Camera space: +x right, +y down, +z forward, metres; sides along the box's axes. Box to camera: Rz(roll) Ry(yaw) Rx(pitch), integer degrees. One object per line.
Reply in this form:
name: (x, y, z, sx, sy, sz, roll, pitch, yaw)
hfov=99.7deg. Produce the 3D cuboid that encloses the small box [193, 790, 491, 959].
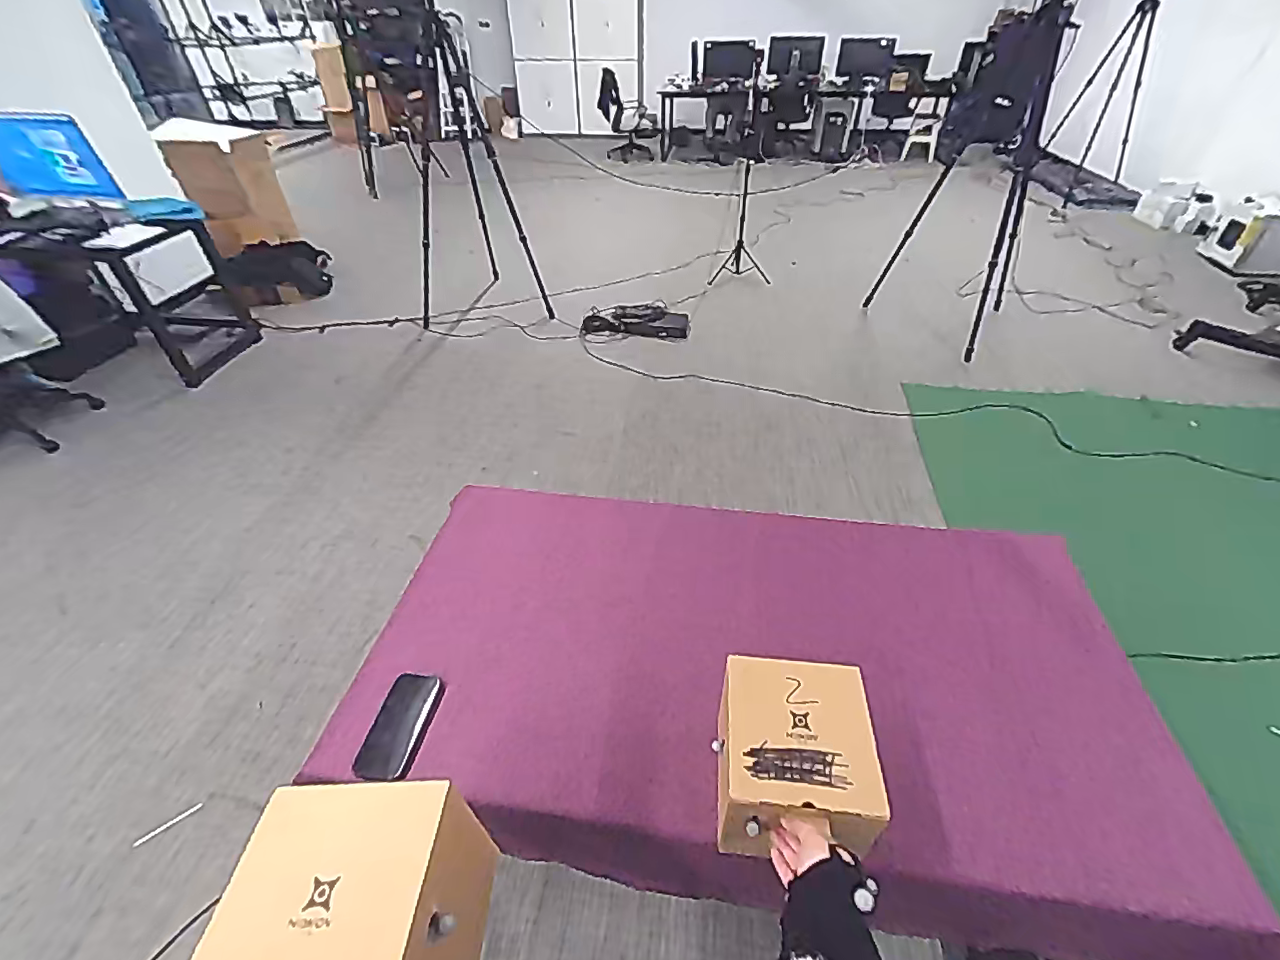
small box: (-0.240, 0.395, 0.464, 0.168, 0.176, 0.179, -3, 38, 4)
